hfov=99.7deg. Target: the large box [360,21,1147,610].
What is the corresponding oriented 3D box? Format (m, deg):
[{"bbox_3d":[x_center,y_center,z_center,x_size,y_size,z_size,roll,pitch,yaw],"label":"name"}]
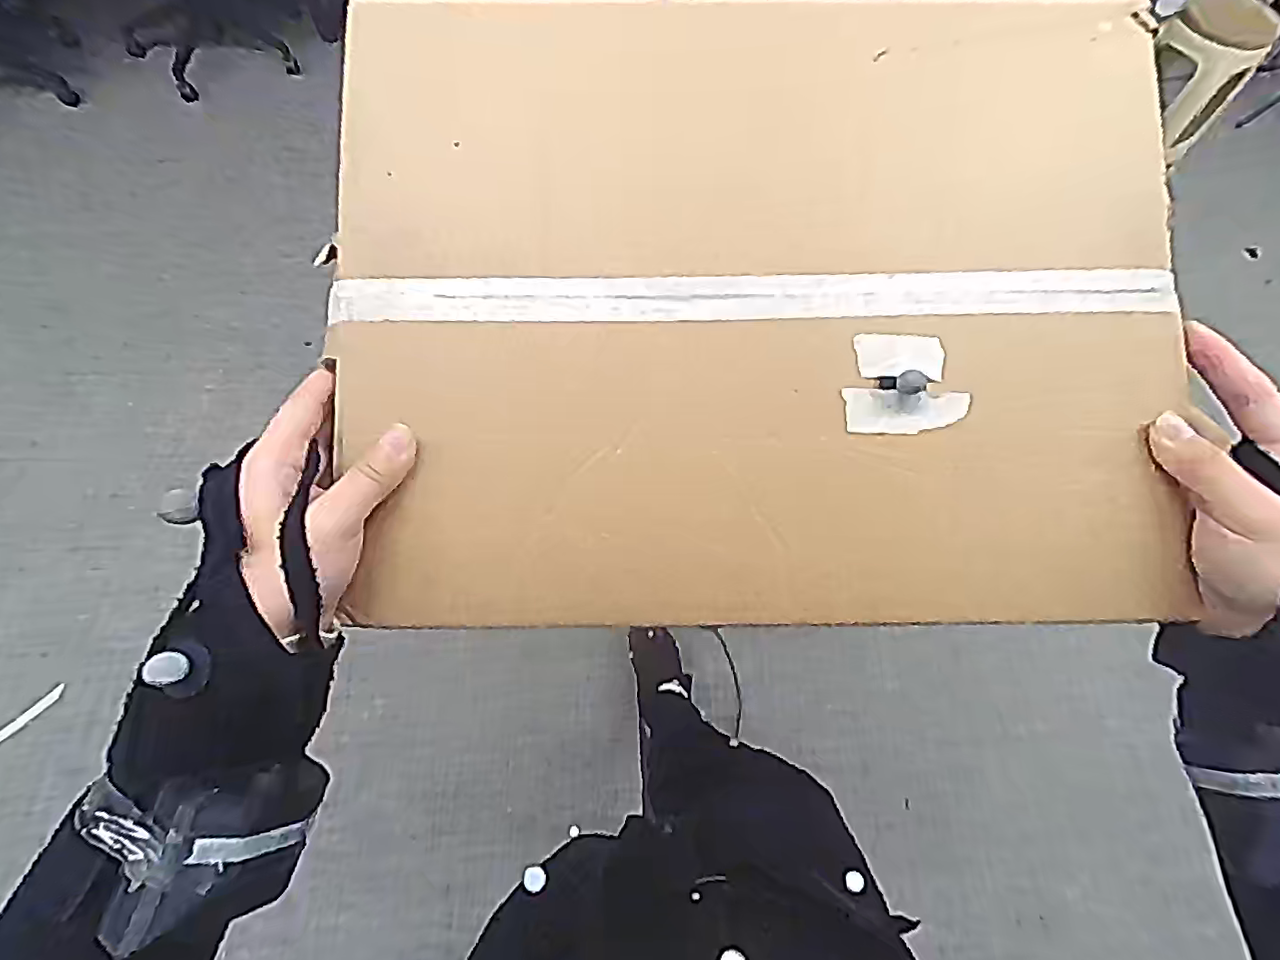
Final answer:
[{"bbox_3d":[0.052,-0.082,0.430,0.408,0.320,0.320,-1,86,-1],"label":"large box"}]
